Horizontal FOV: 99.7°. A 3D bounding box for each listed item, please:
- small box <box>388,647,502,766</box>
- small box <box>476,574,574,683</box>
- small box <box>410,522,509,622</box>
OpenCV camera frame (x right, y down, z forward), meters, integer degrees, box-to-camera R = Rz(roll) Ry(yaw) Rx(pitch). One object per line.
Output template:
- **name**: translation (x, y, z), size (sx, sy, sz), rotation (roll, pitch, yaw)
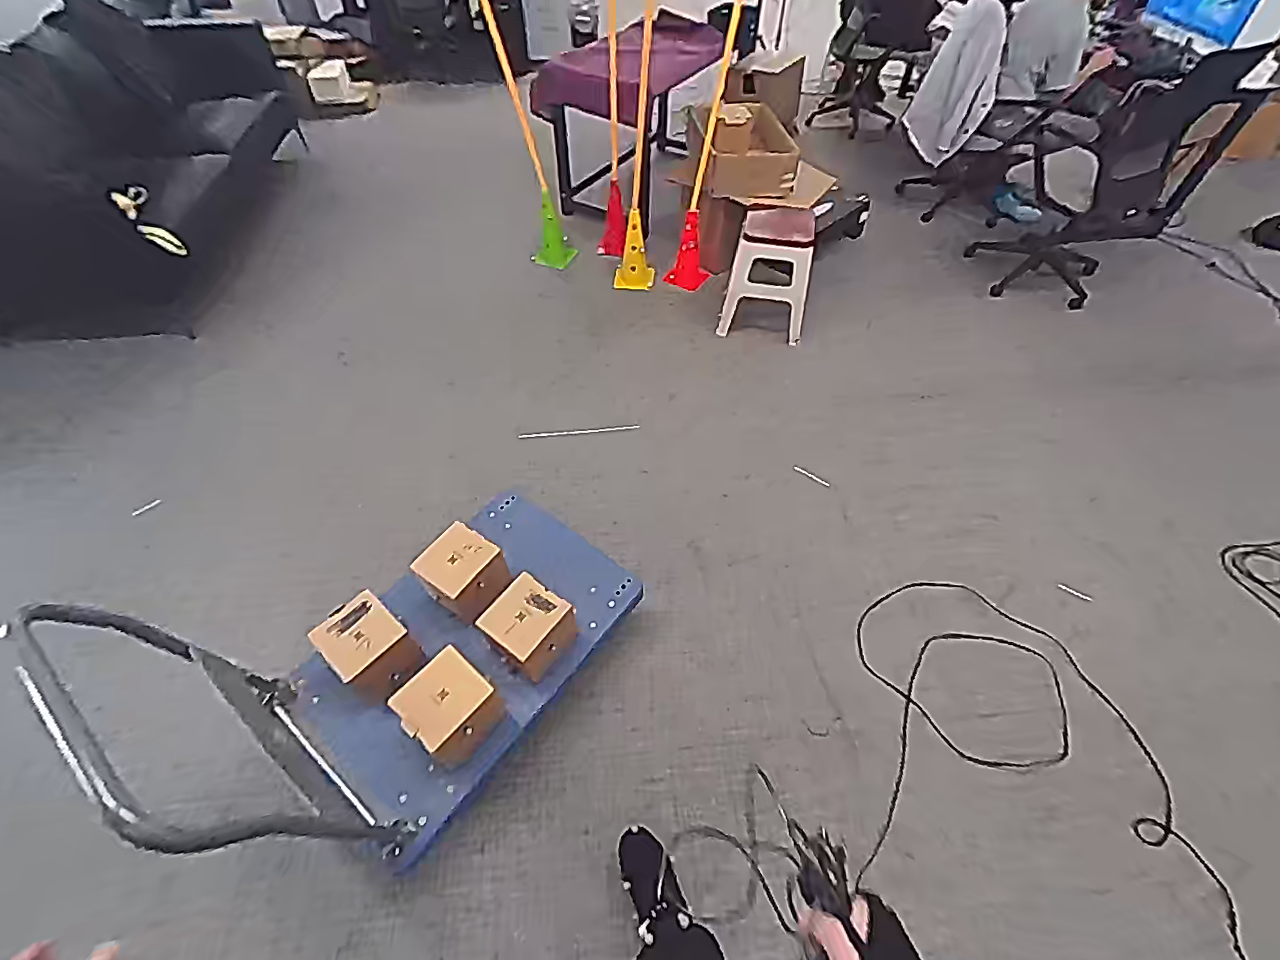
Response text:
- **small box**: translation (-0.443, 0.531, 1.262), size (0.168, 0.176, 0.179), rotation (35, 60, 23)
- **small box**: translation (-0.282, 0.380, 1.376), size (0.168, 0.176, 0.179), rotation (30, 59, 22)
- **small box**: translation (-0.481, 0.255, 1.473), size (0.168, 0.176, 0.179), rotation (29, 58, 20)
